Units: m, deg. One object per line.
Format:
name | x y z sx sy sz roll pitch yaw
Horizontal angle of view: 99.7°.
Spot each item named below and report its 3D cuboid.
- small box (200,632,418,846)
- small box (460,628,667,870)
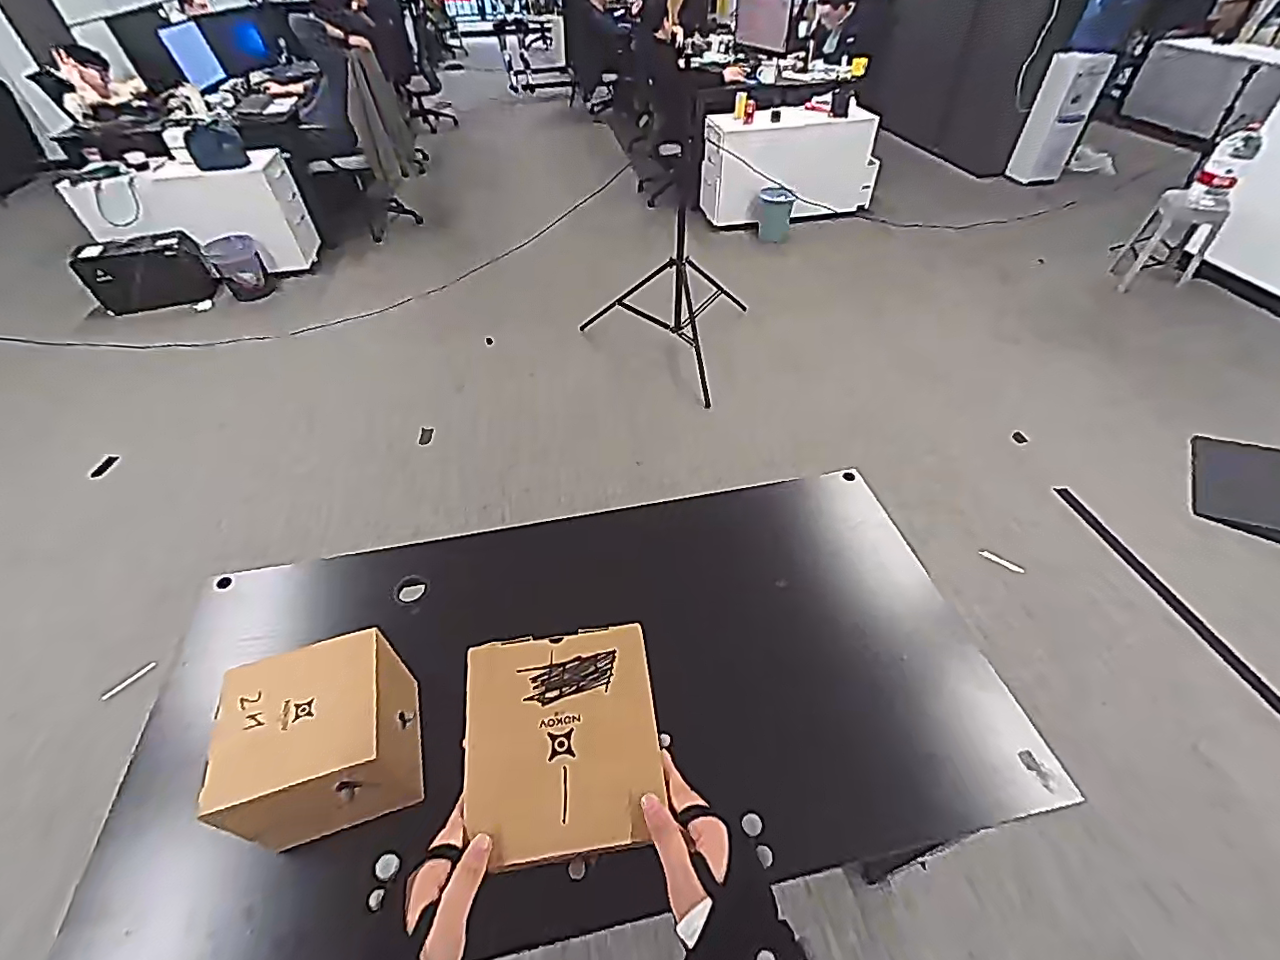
small box | -0.388 0.322 0.674 0.179 0.176 0.168 -15 47 -12
small box | -0.071 0.268 0.536 0.168 0.176 0.179 -7 56 -5
